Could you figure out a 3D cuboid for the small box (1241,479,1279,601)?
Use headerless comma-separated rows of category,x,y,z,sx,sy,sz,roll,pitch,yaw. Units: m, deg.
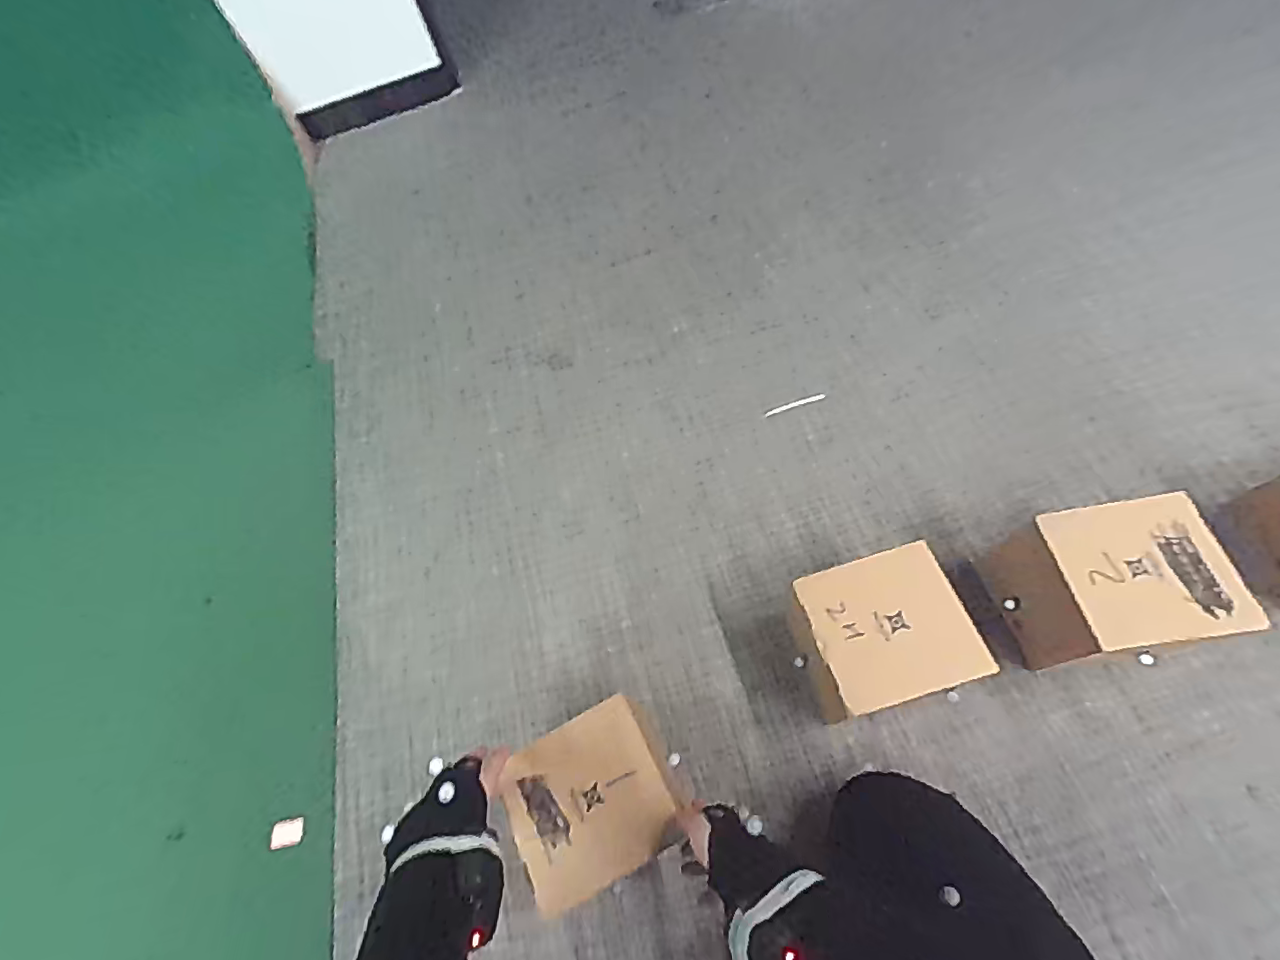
small box,0.923,0.067,0.667,0.179,0.176,0.168,-3,63,8

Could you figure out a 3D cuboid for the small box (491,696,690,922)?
small box,-0.052,0.394,0.670,0.179,0.176,0.168,-28,62,-5

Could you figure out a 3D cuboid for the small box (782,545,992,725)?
small box,0.299,0.208,0.703,0.179,0.176,0.168,-17,61,1
